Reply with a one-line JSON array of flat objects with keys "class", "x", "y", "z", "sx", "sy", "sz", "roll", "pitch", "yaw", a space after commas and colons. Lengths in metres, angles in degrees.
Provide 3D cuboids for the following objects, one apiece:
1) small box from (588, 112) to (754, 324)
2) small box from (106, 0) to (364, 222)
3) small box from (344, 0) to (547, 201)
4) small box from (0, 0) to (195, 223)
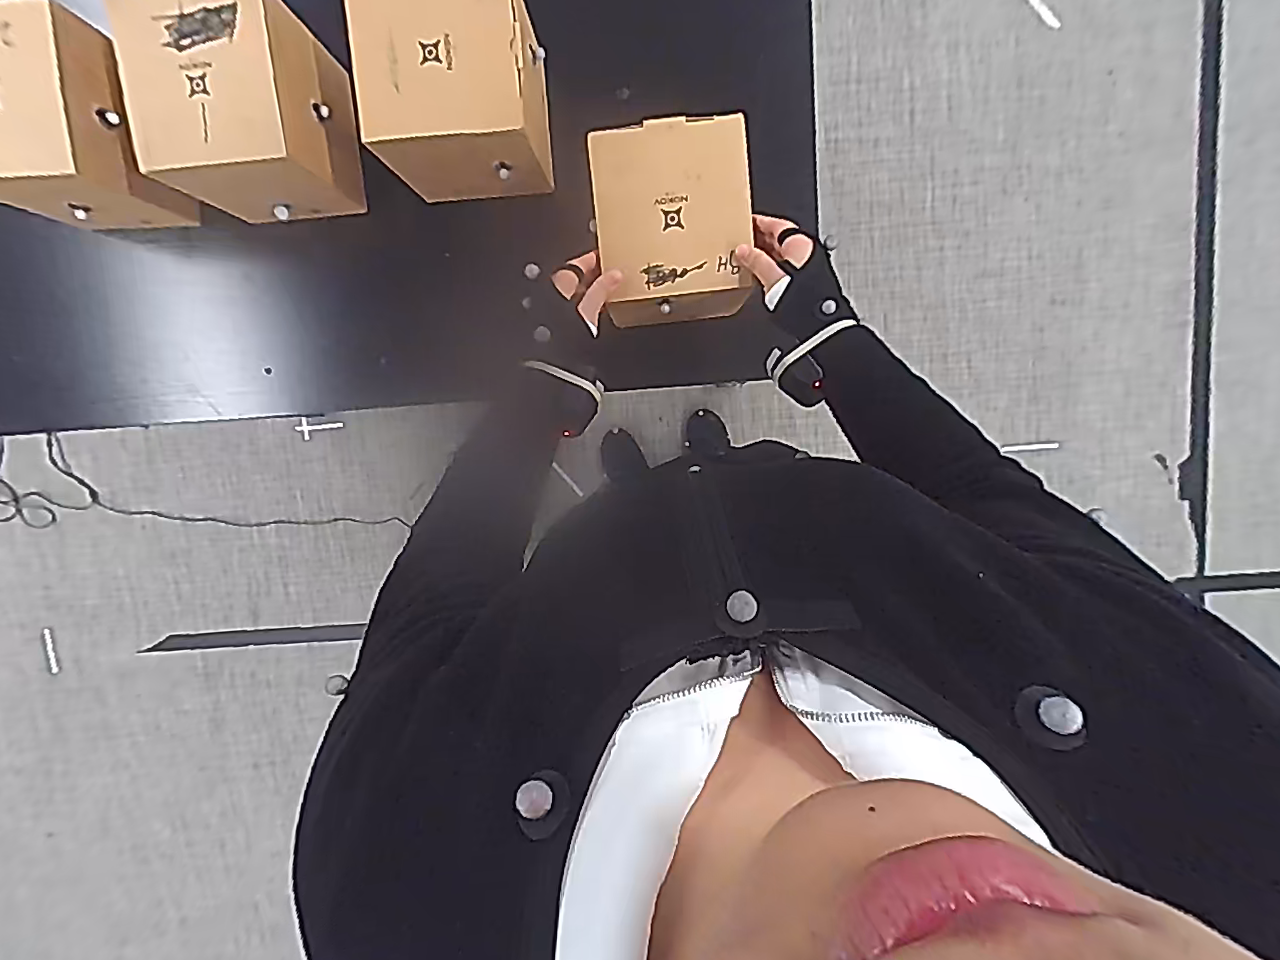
[{"class": "small box", "x": 0.035, "y": -0.297, "z": 0.648, "sx": 0.168, "sy": 0.176, "sz": 0.179, "roll": -6, "pitch": 97, "yaw": 3}, {"class": "small box", "x": -0.458, "y": -0.430, "z": 0.642, "sx": 0.168, "sy": 0.176, "sz": 0.179, "roll": -5, "pitch": 99, "yaw": 1}, {"class": "small box", "x": -0.211, "y": -0.450, "z": 0.636, "sx": 0.179, "sy": 0.176, "sz": 0.168, "roll": -4, "pitch": 96, "yaw": 3}, {"class": "small box", "x": -0.682, "y": -0.421, "z": 0.648, "sx": 0.168, "sy": 0.176, "sz": 0.179, "roll": -1, "pitch": 97, "yaw": 0}]
